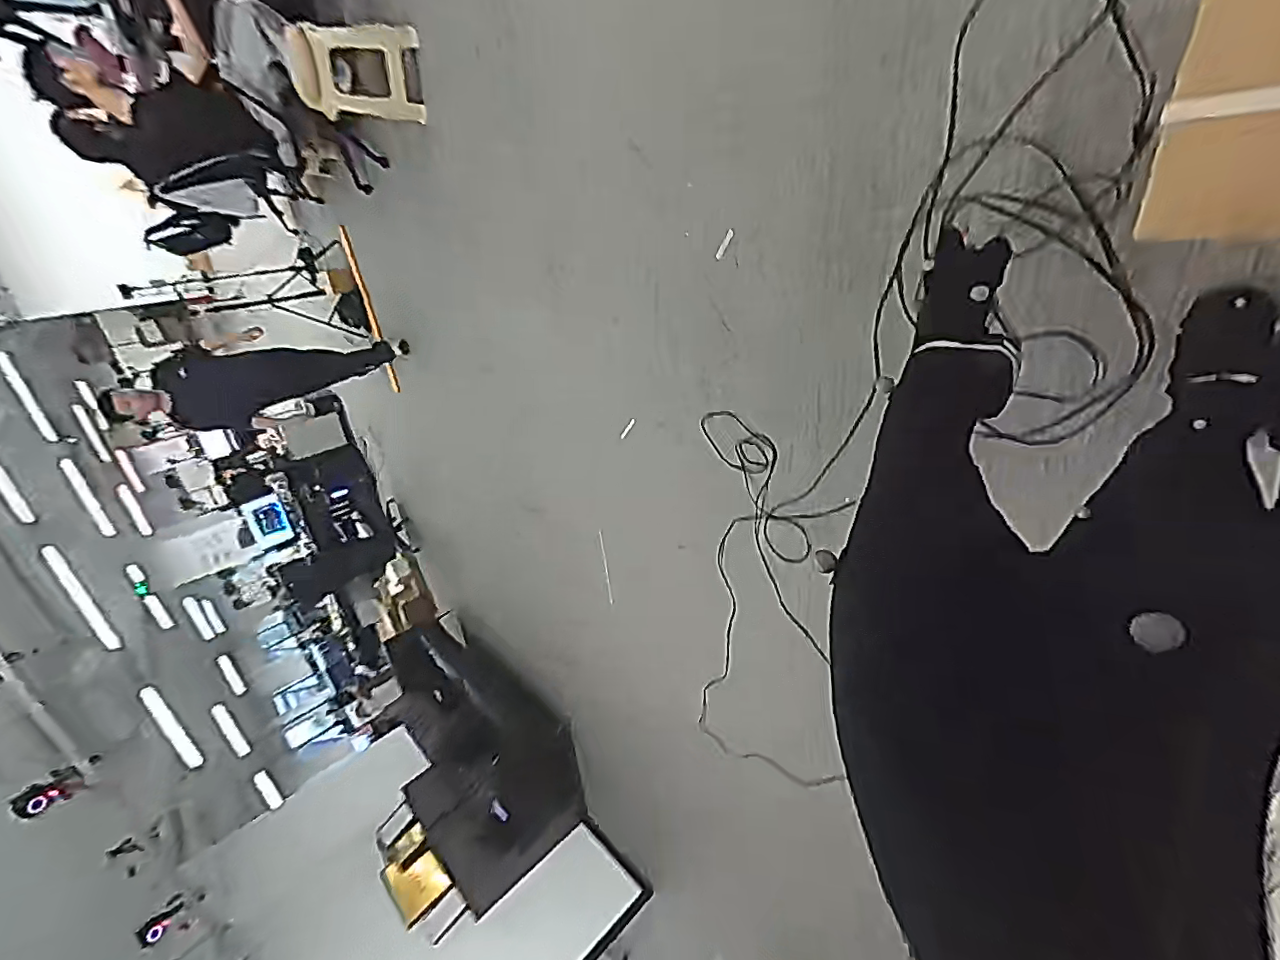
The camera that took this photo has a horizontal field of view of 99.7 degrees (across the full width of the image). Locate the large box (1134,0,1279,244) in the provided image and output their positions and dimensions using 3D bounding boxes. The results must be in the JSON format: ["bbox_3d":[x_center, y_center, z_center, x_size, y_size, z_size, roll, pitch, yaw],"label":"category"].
[{"bbox_3d":[0.938,-0.480,0.673,0.408,0.320,0.320,20,125,41],"label":"large box"}]
